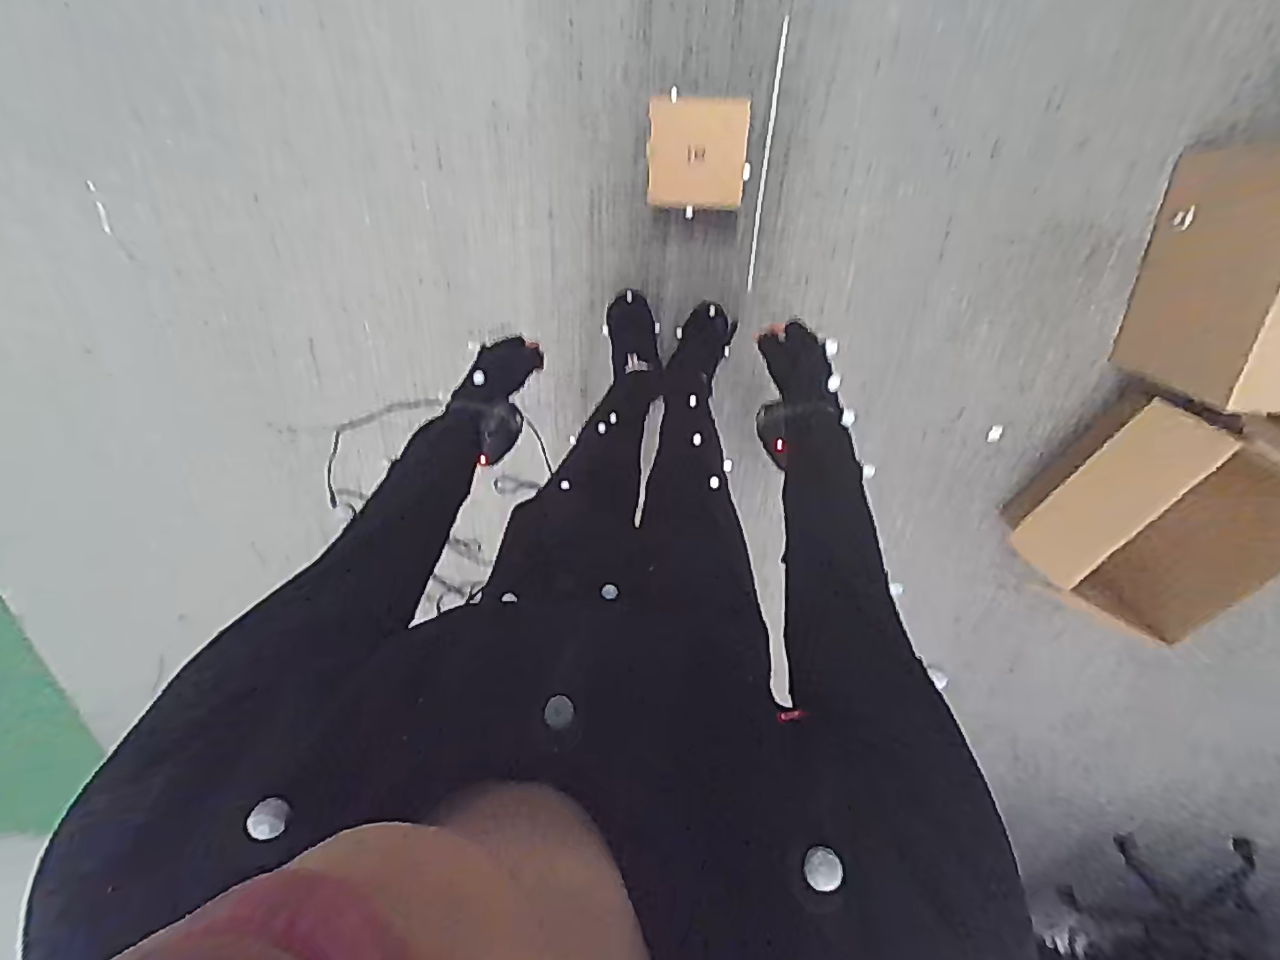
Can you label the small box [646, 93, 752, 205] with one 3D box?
[{"bbox_3d":[0.107,-0.619,1.020,0.179,0.176,0.168,4,119,5],"label":"small box"}]
